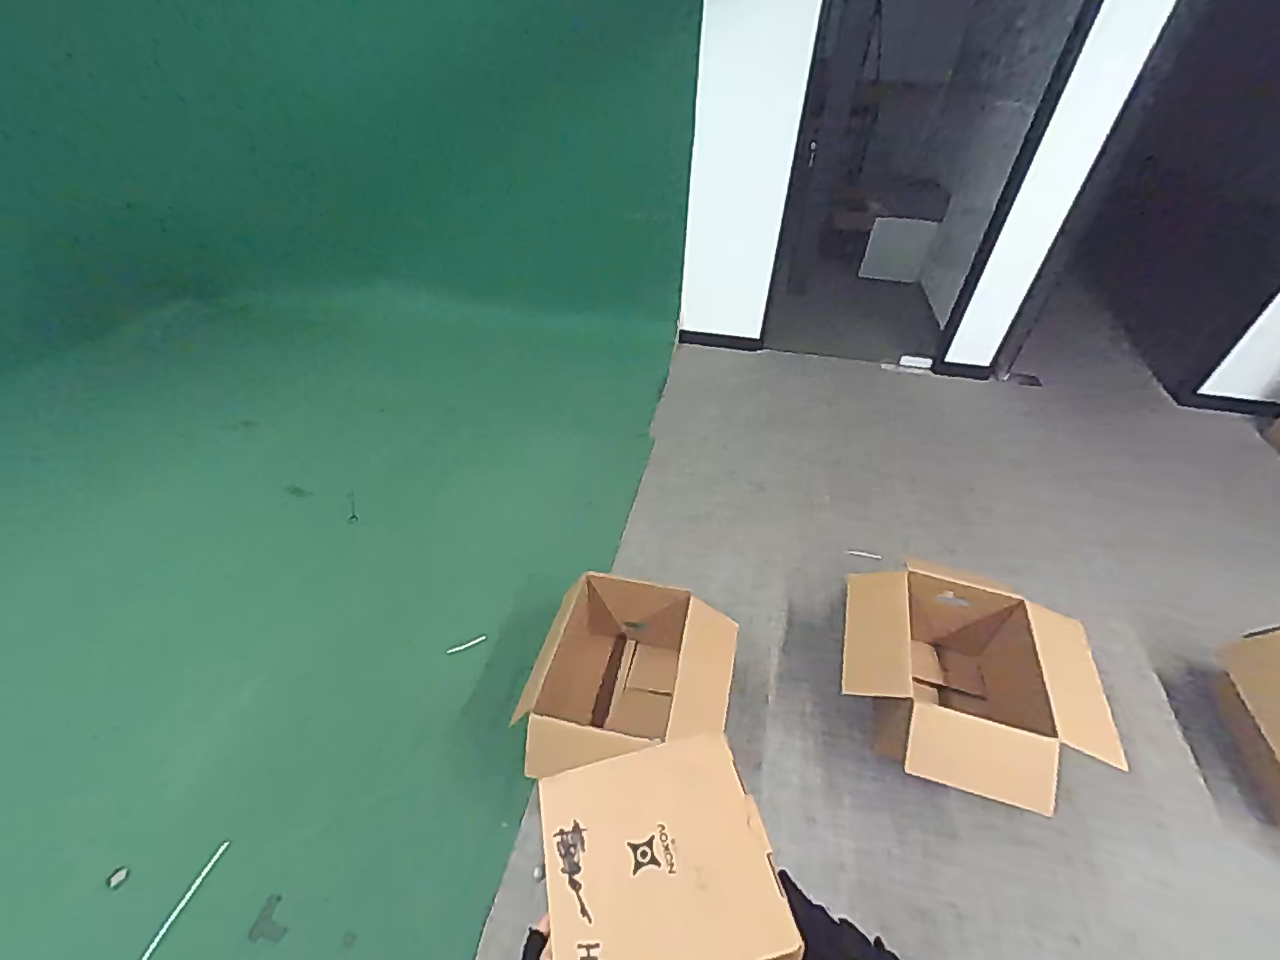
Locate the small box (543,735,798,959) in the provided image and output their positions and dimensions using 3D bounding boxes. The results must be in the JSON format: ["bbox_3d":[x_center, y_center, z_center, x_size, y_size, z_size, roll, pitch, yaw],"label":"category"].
[{"bbox_3d":[0.017,0.363,0.481,0.179,0.176,0.168,-10,36,-7],"label":"small box"}]
